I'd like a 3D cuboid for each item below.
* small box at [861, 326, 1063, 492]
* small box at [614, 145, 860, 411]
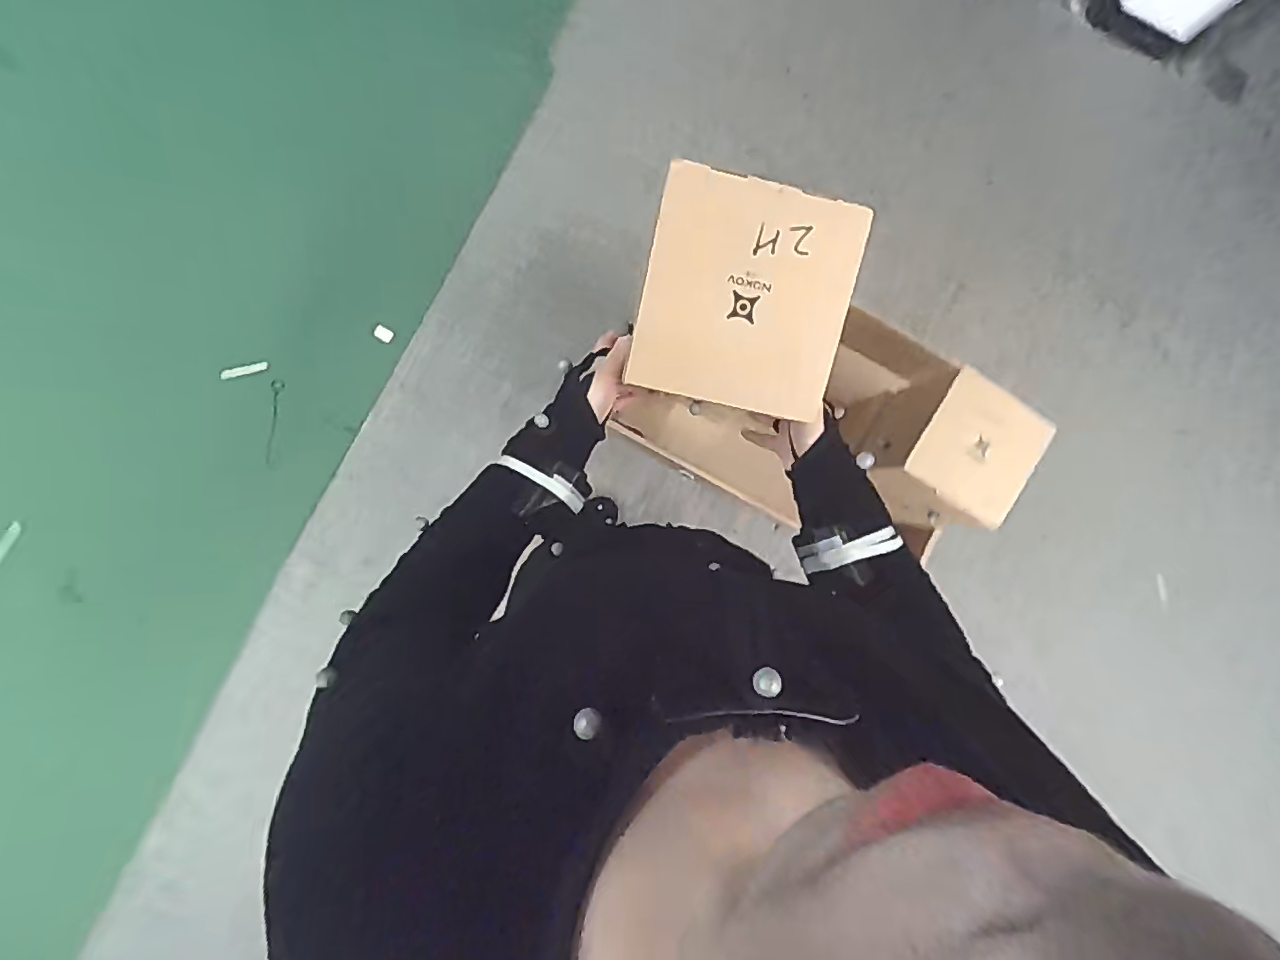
[{"bbox_3d":[0.462,-0.094,0.810,0.168,0.176,0.179,29,87,-3],"label":"small box"},{"bbox_3d":[0.072,-0.169,0.503,0.168,0.176,0.179,10,100,-5],"label":"small box"}]
